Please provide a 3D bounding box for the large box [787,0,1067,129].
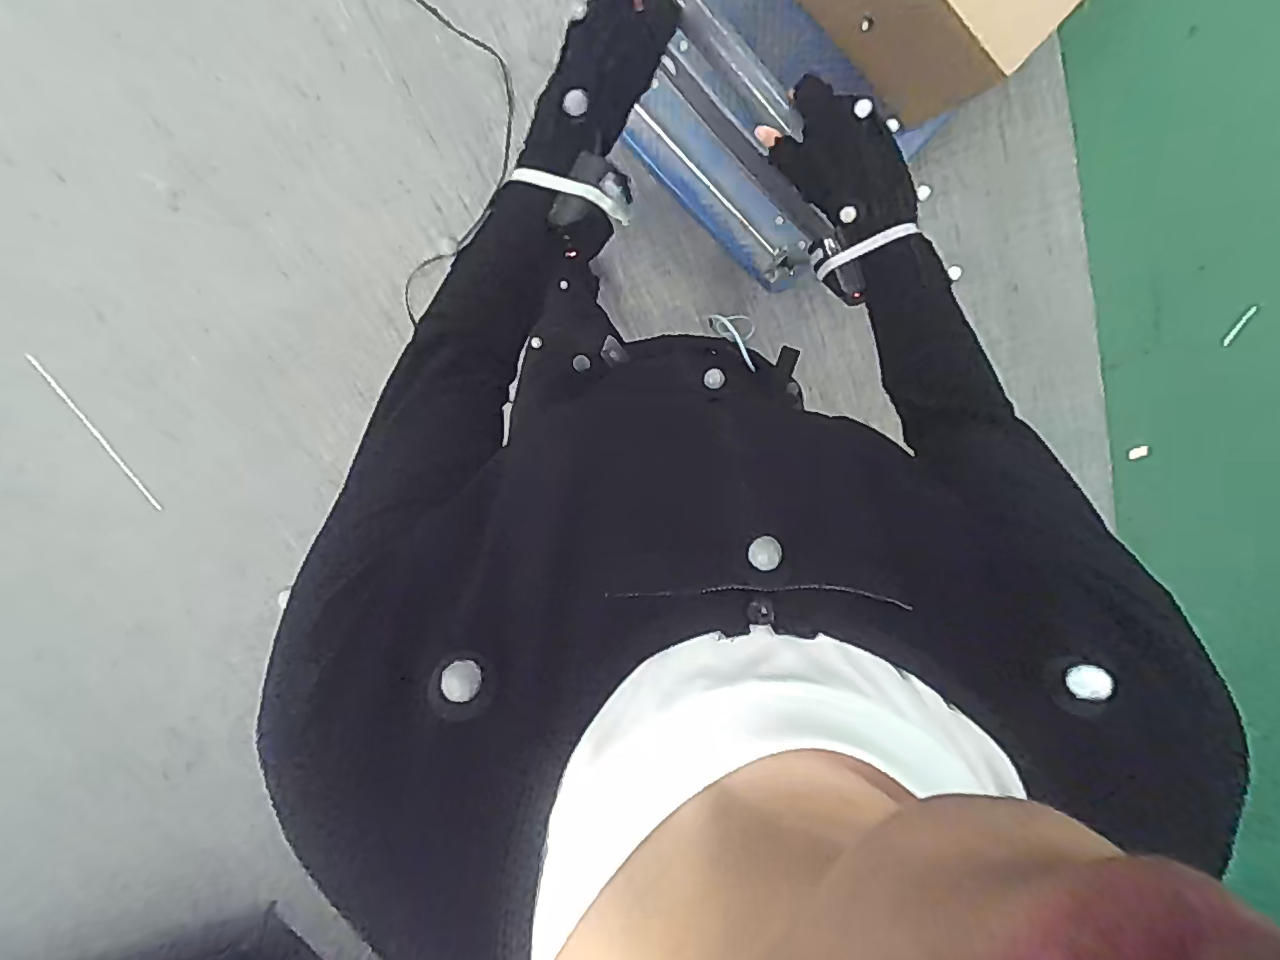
[{"bbox_3d":[0.463,-0.856,0.841,0.408,0.320,0.320,39,105,-12],"label":"large box"}]
